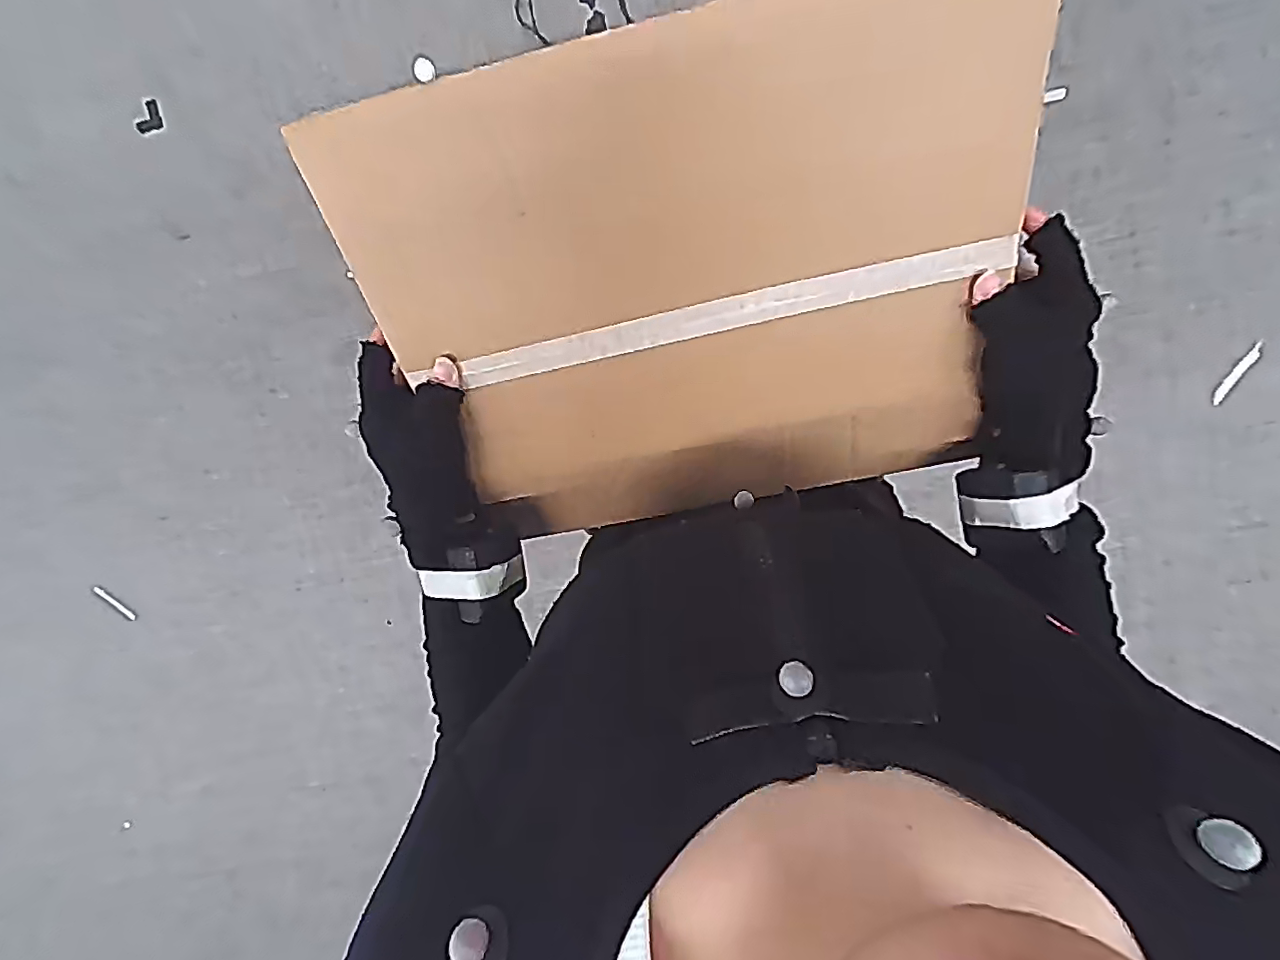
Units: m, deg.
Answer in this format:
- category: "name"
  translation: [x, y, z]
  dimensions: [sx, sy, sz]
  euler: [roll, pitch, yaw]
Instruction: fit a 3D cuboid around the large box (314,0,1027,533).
- category: "large box"
  translation: [0.031, -0.196, 0.492]
  dimensions: [0.408, 0.320, 0.320]
  euler: [-11, 126, 6]
